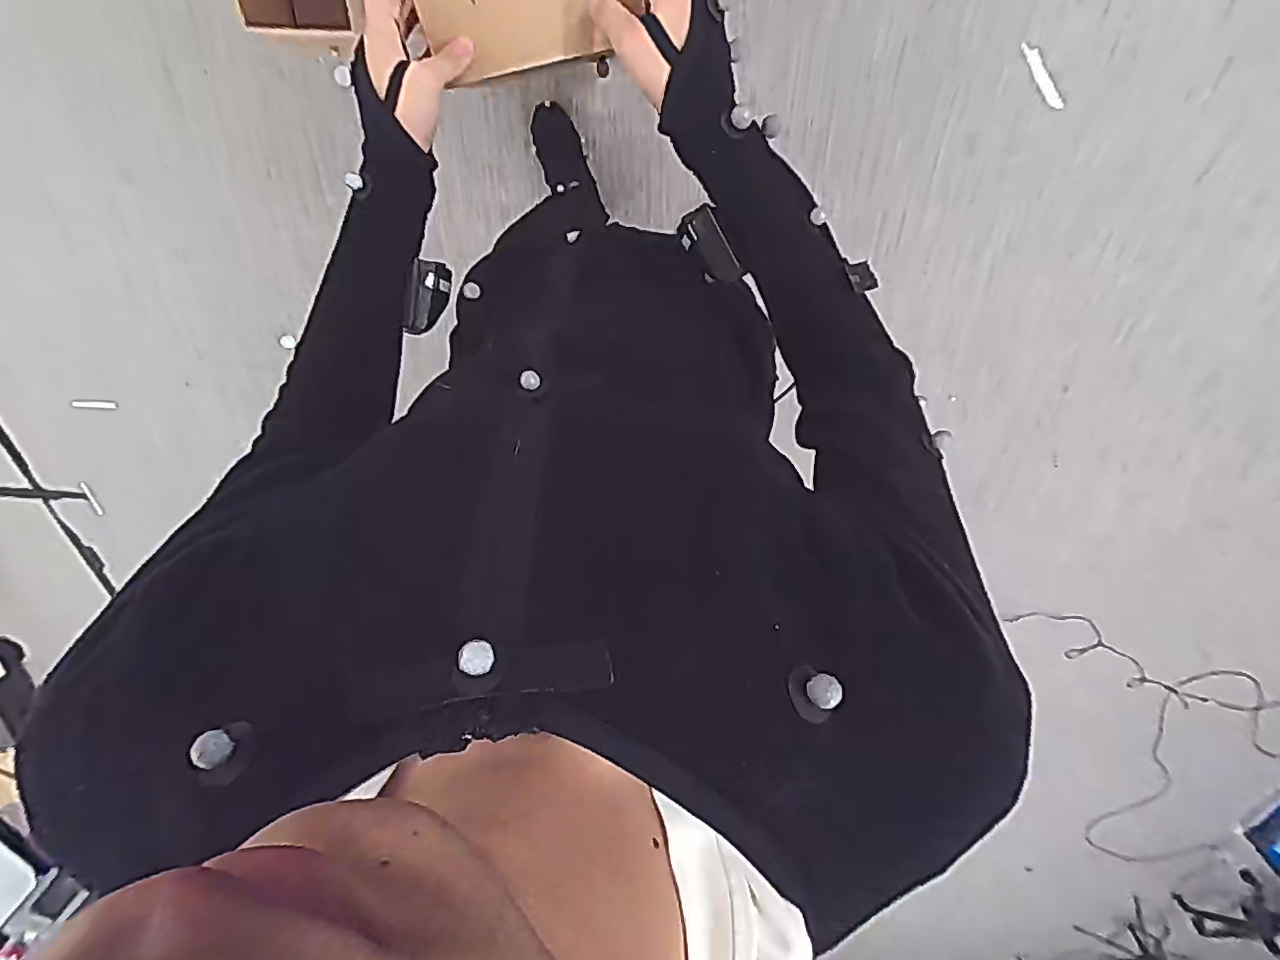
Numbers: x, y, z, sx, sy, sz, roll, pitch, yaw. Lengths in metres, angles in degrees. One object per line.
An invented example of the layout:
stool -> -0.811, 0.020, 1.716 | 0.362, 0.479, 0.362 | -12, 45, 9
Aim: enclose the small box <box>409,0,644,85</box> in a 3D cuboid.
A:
small box -> -0.099, -0.448, 0.450 | 0.179, 0.176, 0.168 | -10, 125, 6
